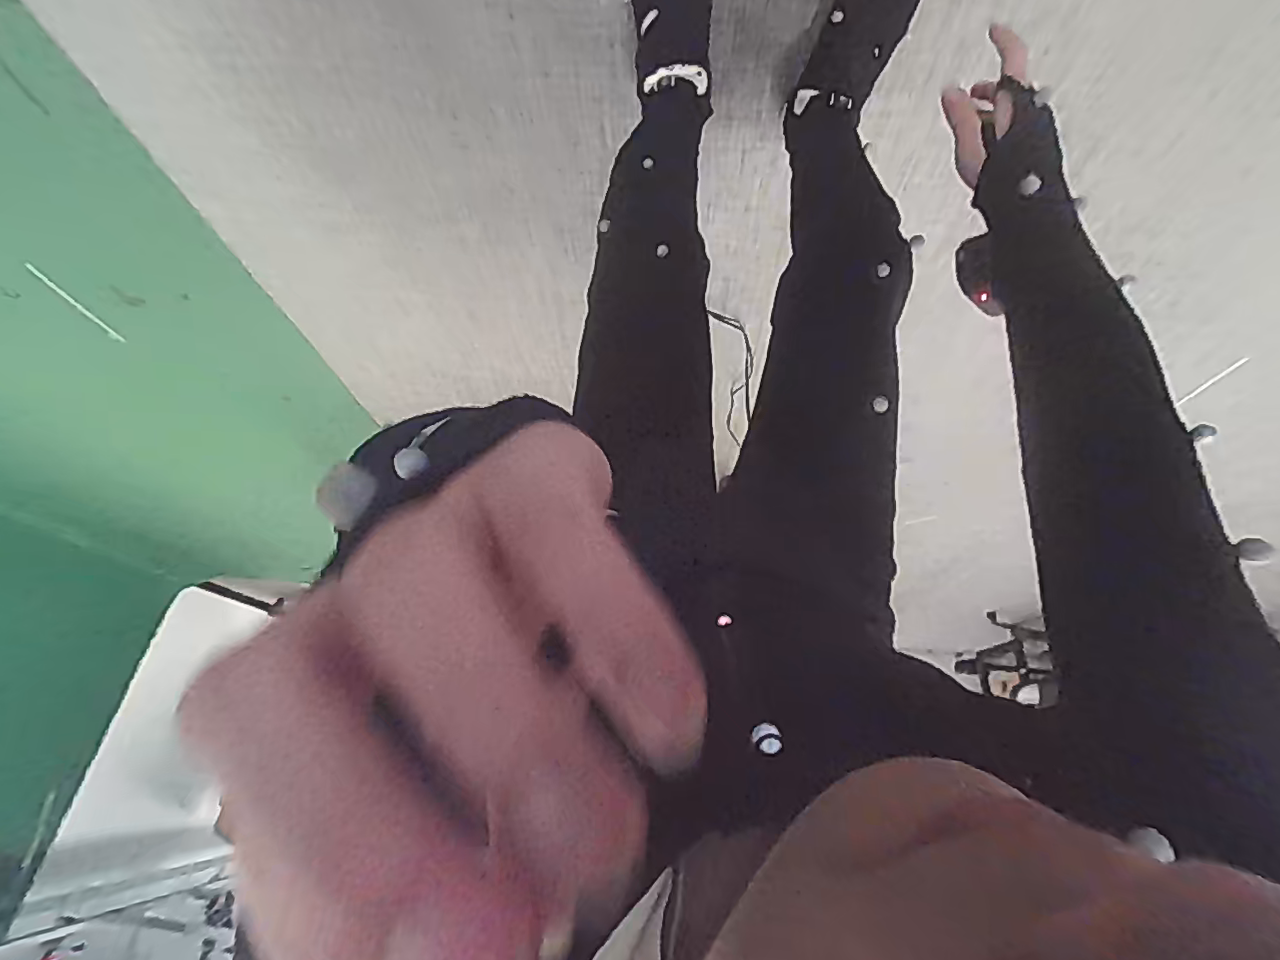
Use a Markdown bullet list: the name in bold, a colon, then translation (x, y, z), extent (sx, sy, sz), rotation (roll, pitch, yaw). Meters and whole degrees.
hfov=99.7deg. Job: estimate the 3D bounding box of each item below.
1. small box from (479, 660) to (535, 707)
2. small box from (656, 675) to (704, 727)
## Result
- **small box**: translation (-0.532, 0.815, 2.185), extent (0.168, 0.176, 0.179), rotation (4, 155, 4)
- **small box**: translation (0.160, 0.866, 2.122), extent (0.179, 0.176, 0.168), rotation (3, 153, 8)
